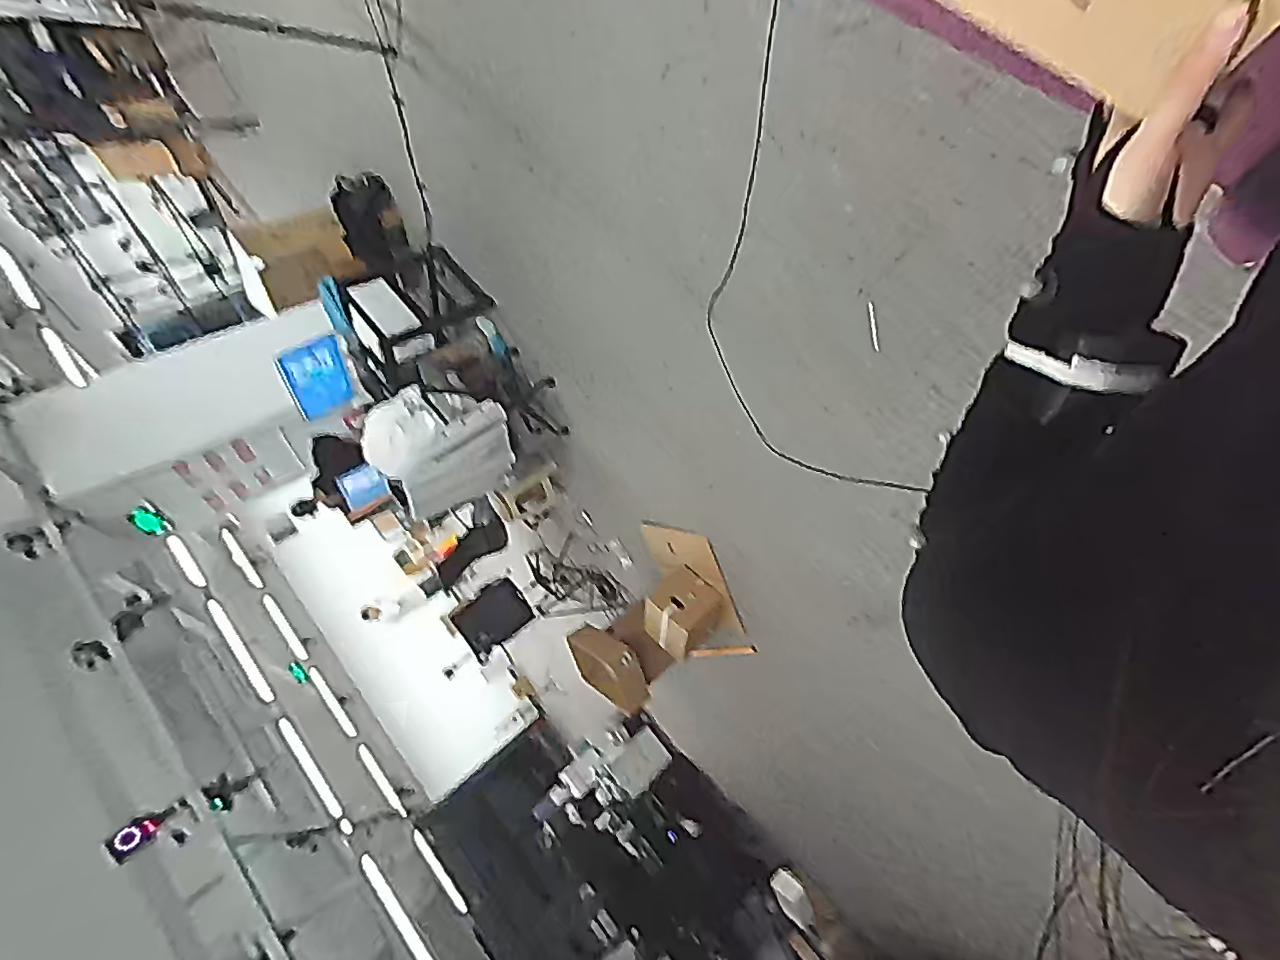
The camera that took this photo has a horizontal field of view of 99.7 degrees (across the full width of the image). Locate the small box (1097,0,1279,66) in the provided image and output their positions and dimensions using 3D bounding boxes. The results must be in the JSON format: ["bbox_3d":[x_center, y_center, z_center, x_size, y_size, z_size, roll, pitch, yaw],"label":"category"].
[{"bbox_3d":[0.410,-0.420,0.351,0.168,0.176,0.179,50,150,10],"label":"small box"}]
